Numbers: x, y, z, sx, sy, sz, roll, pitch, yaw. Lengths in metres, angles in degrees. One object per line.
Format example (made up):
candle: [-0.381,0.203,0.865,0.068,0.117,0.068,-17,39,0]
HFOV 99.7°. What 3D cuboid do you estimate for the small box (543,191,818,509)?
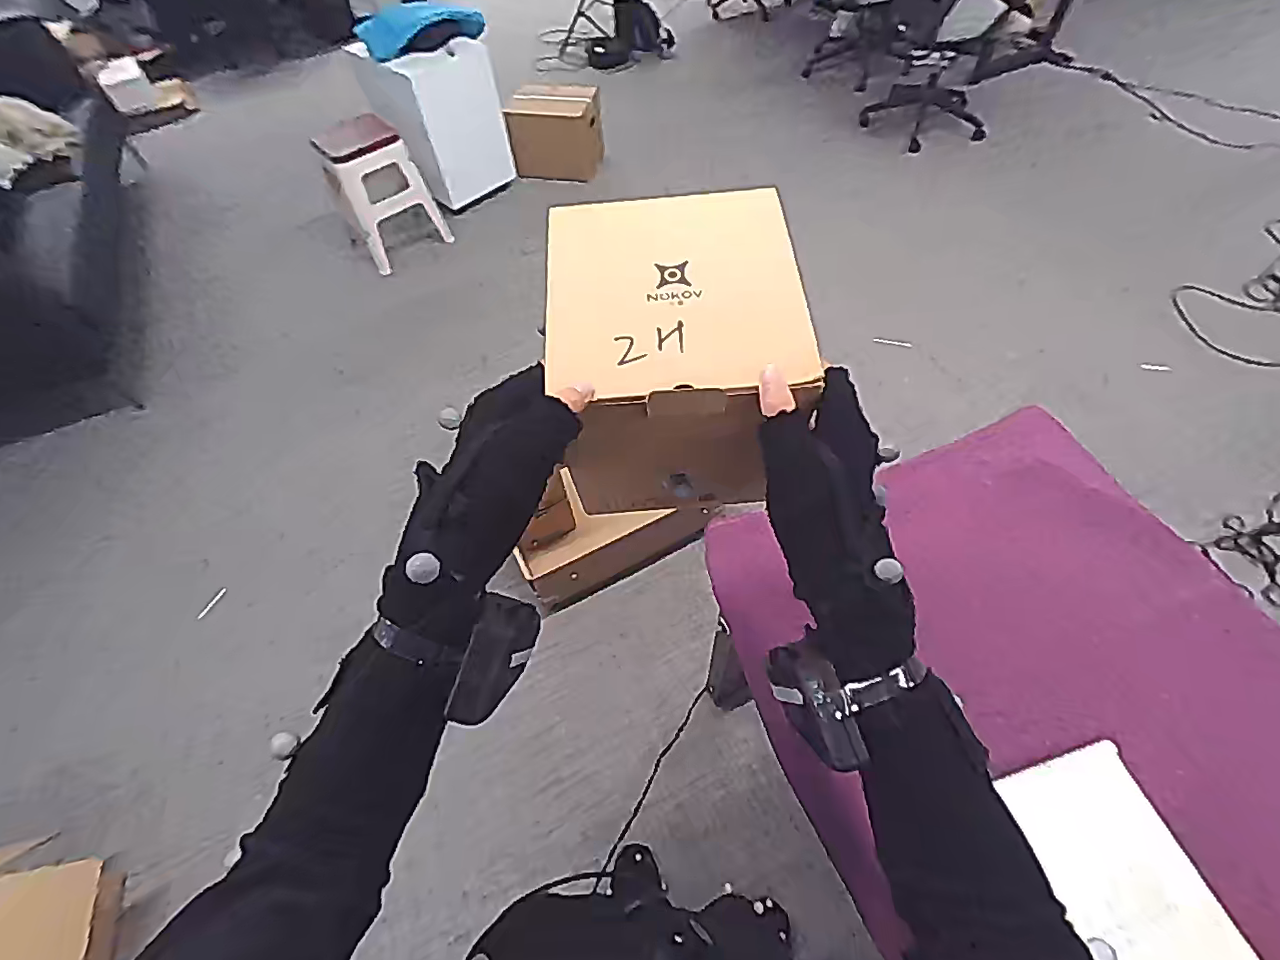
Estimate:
small box: [0.023,-0.093,0.427,0.168,0.176,0.179,-4,63,1]
